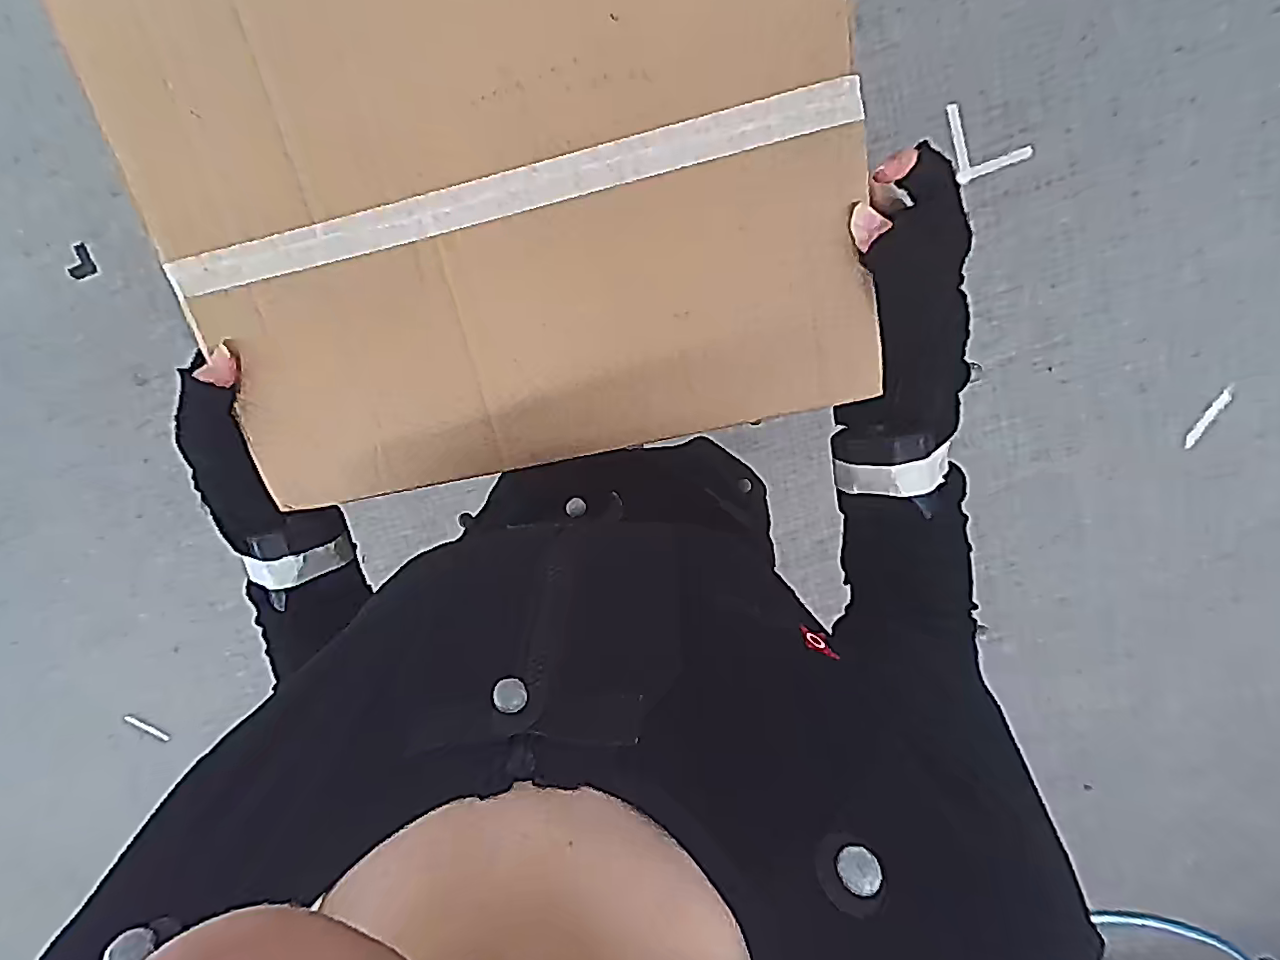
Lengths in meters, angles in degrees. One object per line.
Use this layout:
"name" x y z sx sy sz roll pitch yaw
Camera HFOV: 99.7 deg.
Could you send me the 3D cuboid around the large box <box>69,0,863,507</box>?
"large box" -0.076 -0.210 0.454 0.408 0.320 0.320 -11 108 7
